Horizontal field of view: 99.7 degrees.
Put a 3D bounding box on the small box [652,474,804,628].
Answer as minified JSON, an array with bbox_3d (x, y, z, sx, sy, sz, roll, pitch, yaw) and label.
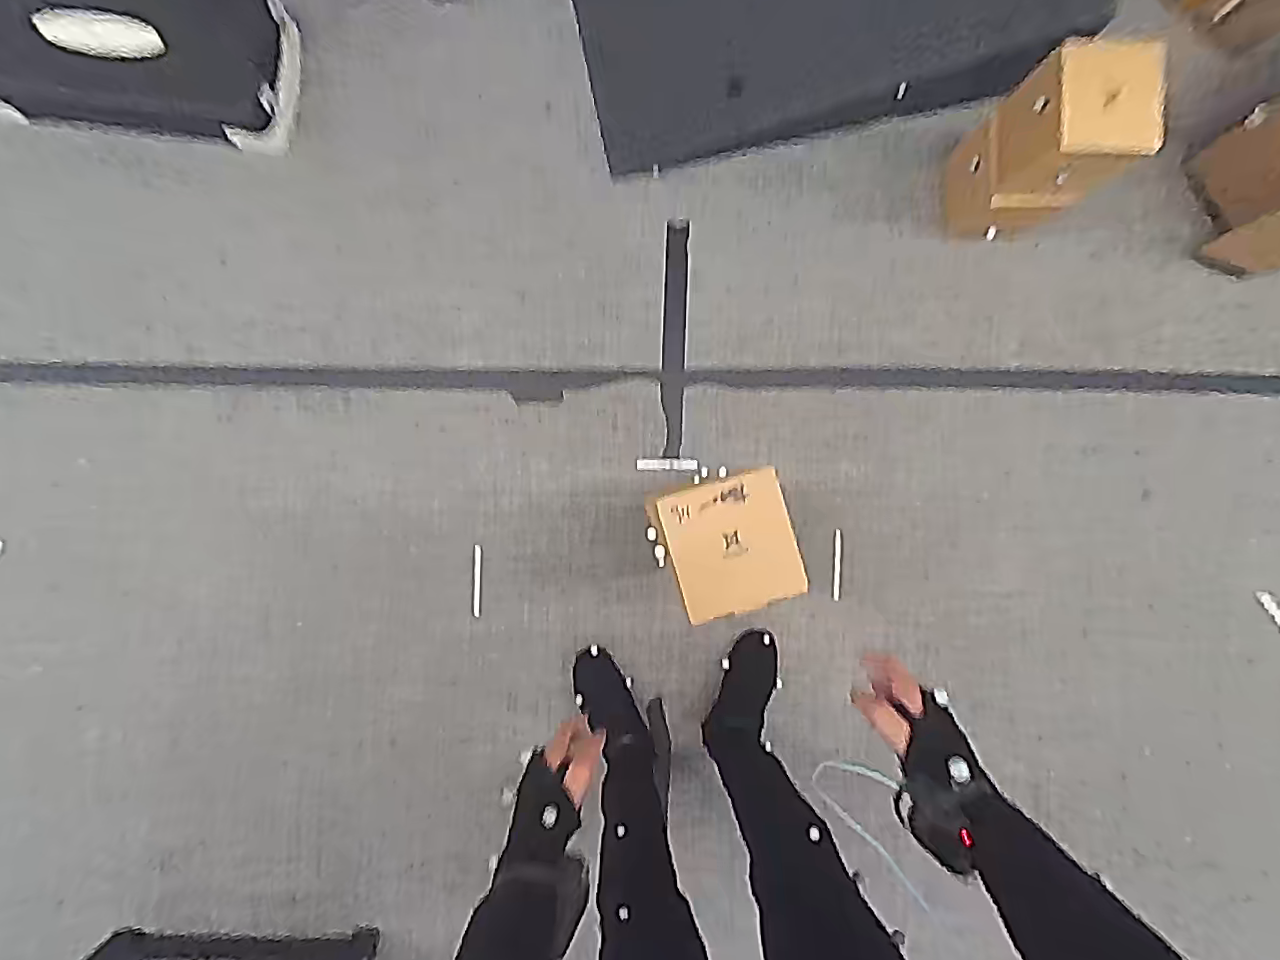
[{"bbox_3d":[0.119,0.093,0.801,0.168,0.176,0.179,-16,91,-2],"label":"small box"}]
